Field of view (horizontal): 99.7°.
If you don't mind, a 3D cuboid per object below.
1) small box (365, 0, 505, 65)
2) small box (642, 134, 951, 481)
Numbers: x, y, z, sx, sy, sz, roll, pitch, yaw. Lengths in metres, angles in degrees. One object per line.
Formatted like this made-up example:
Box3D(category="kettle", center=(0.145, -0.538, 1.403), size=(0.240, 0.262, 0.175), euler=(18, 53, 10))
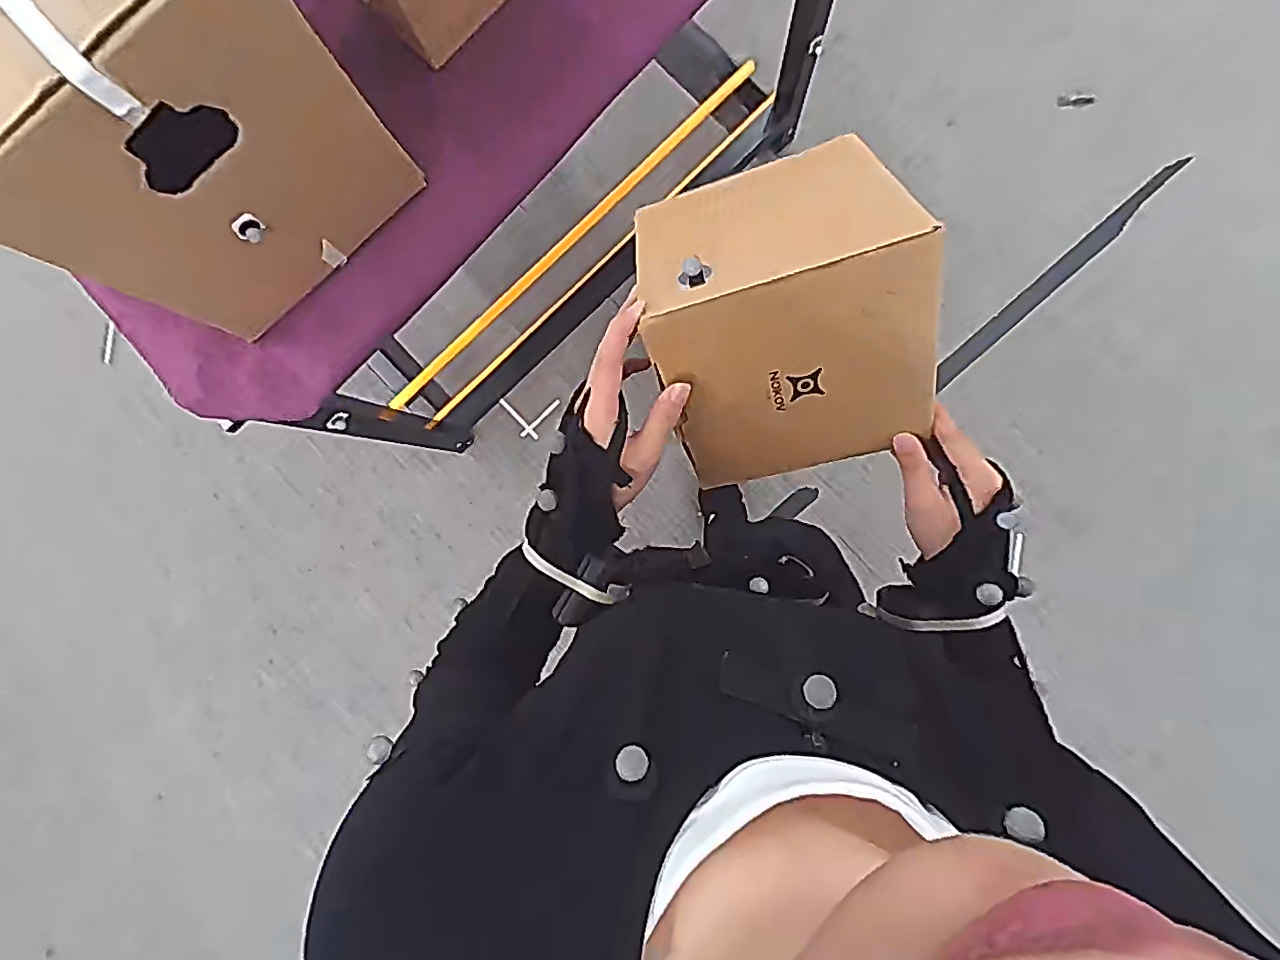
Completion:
Box3D(category="small box", center=(-0.259, -0.642, 0.614), size=(0.179, 0.176, 0.168), euler=(-44, 85, 1))
Box3D(category="small box", center=(0.106, -0.129, 0.414), size=(0.179, 0.168, 0.176), euler=(-13, 47, 14))
